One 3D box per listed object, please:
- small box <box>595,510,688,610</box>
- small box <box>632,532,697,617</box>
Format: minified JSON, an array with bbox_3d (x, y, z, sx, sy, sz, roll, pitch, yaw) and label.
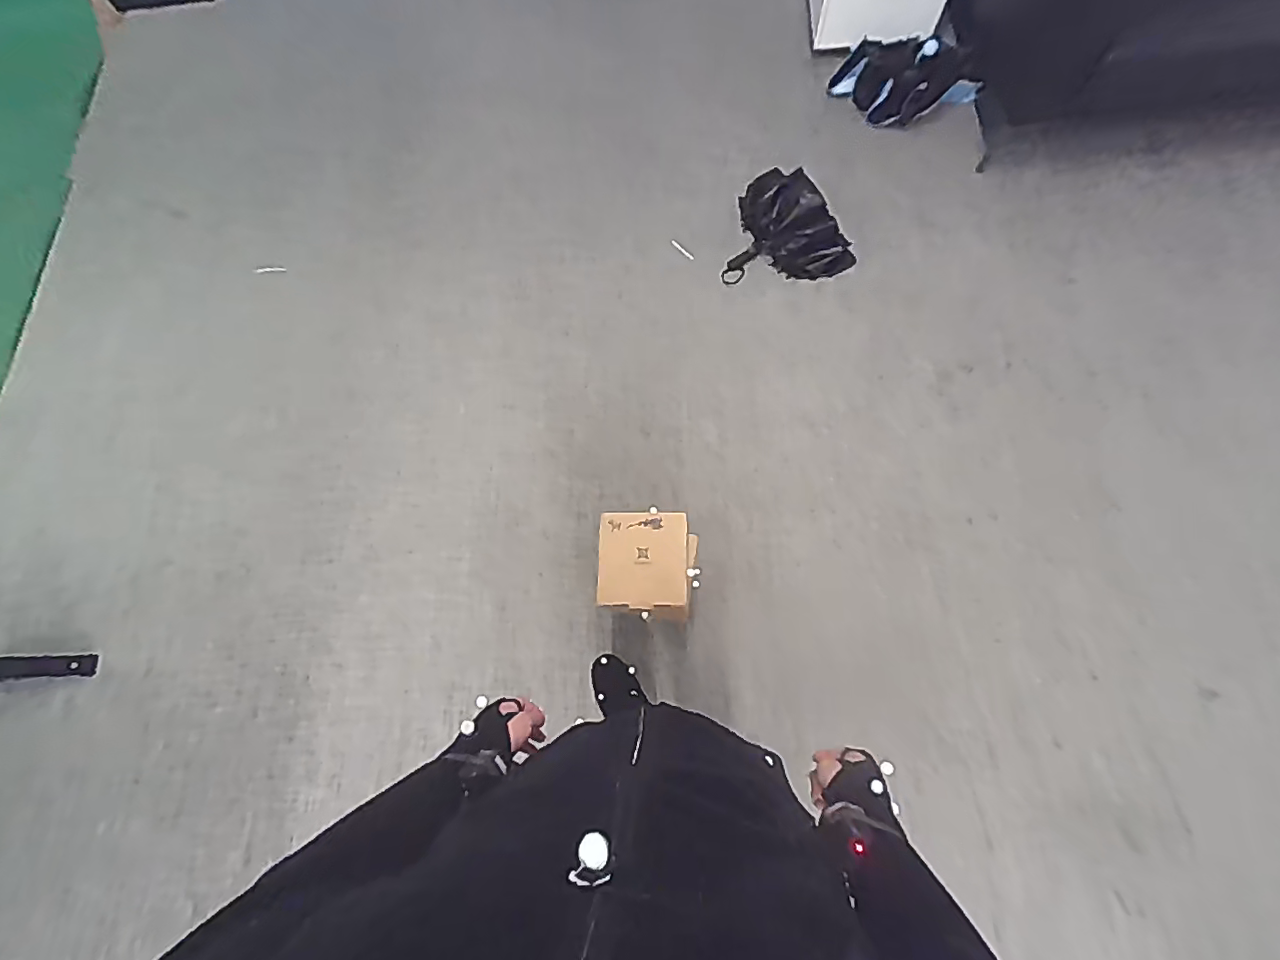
[{"bbox_3d":[0.011,0.165,1.081,0.168,0.176,0.179,1,74,5],"label":"small box"},{"bbox_3d":[0.034,0.208,1.237,0.168,0.176,0.179,10,75,8],"label":"small box"}]
